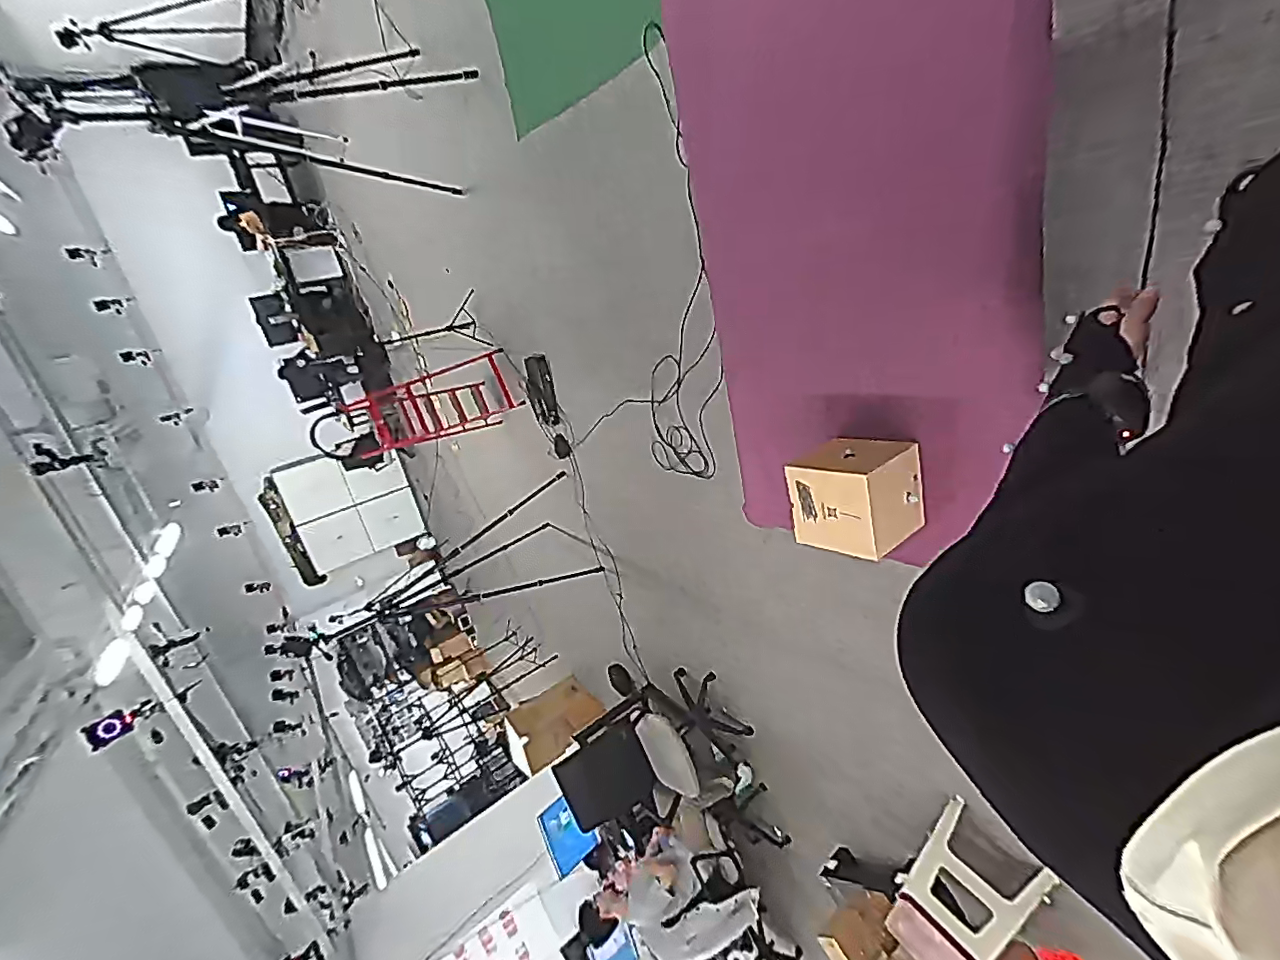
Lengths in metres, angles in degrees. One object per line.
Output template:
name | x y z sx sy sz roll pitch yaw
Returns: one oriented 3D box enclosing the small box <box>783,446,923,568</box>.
small box | 0.398 0.039 1.013 0.179 0.176 0.168 9 118 53
